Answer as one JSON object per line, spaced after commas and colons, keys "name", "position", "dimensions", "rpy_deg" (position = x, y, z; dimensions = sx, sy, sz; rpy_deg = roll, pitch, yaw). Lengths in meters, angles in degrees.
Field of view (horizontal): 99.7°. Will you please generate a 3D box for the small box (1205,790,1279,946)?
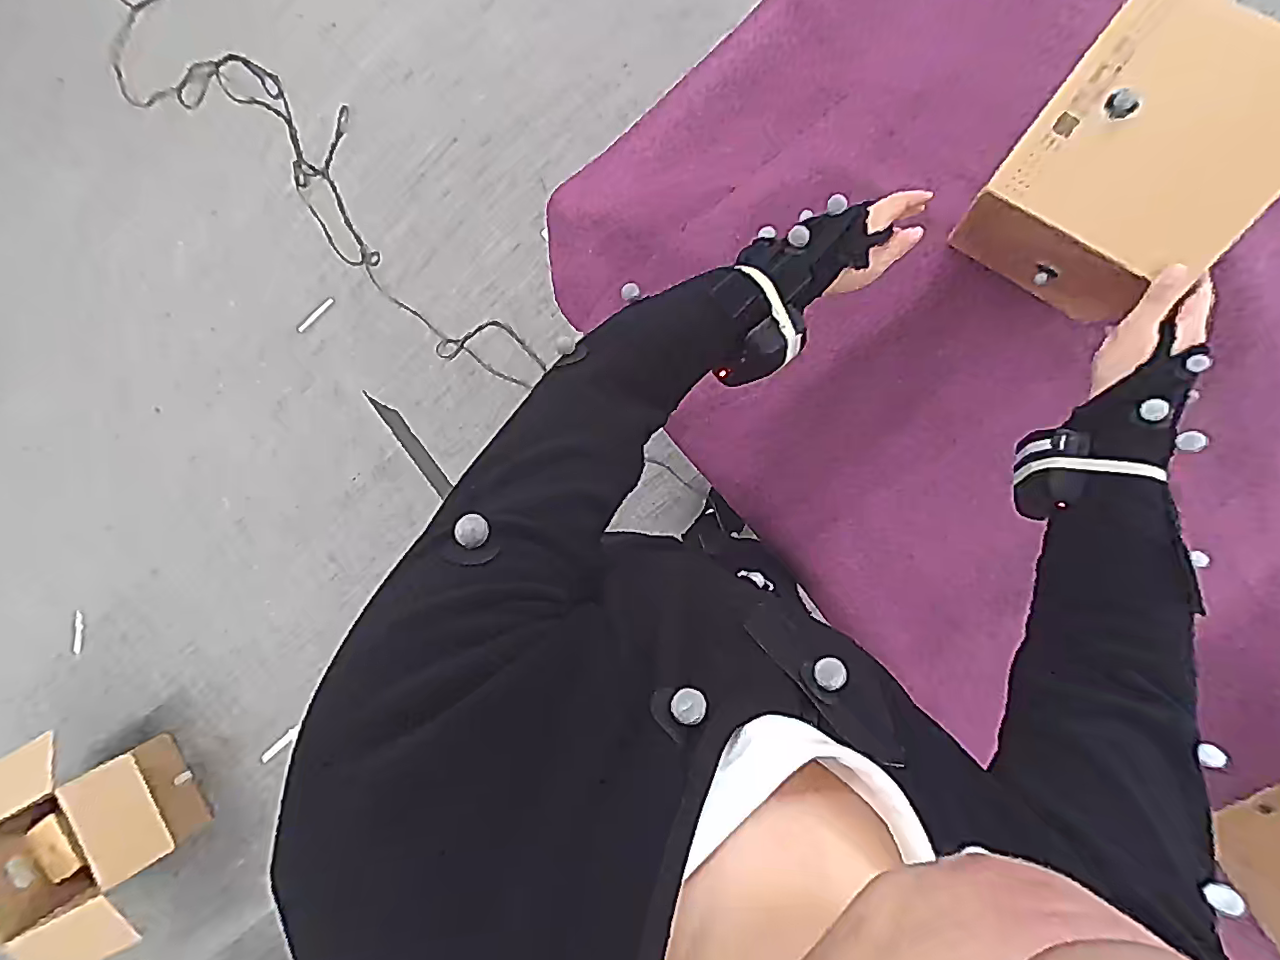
{"name": "small box", "position": [0.689, 0.391, 0.480], "dimensions": [0.168, 0.176, 0.179], "rpy_deg": [-33, 88, 9]}
